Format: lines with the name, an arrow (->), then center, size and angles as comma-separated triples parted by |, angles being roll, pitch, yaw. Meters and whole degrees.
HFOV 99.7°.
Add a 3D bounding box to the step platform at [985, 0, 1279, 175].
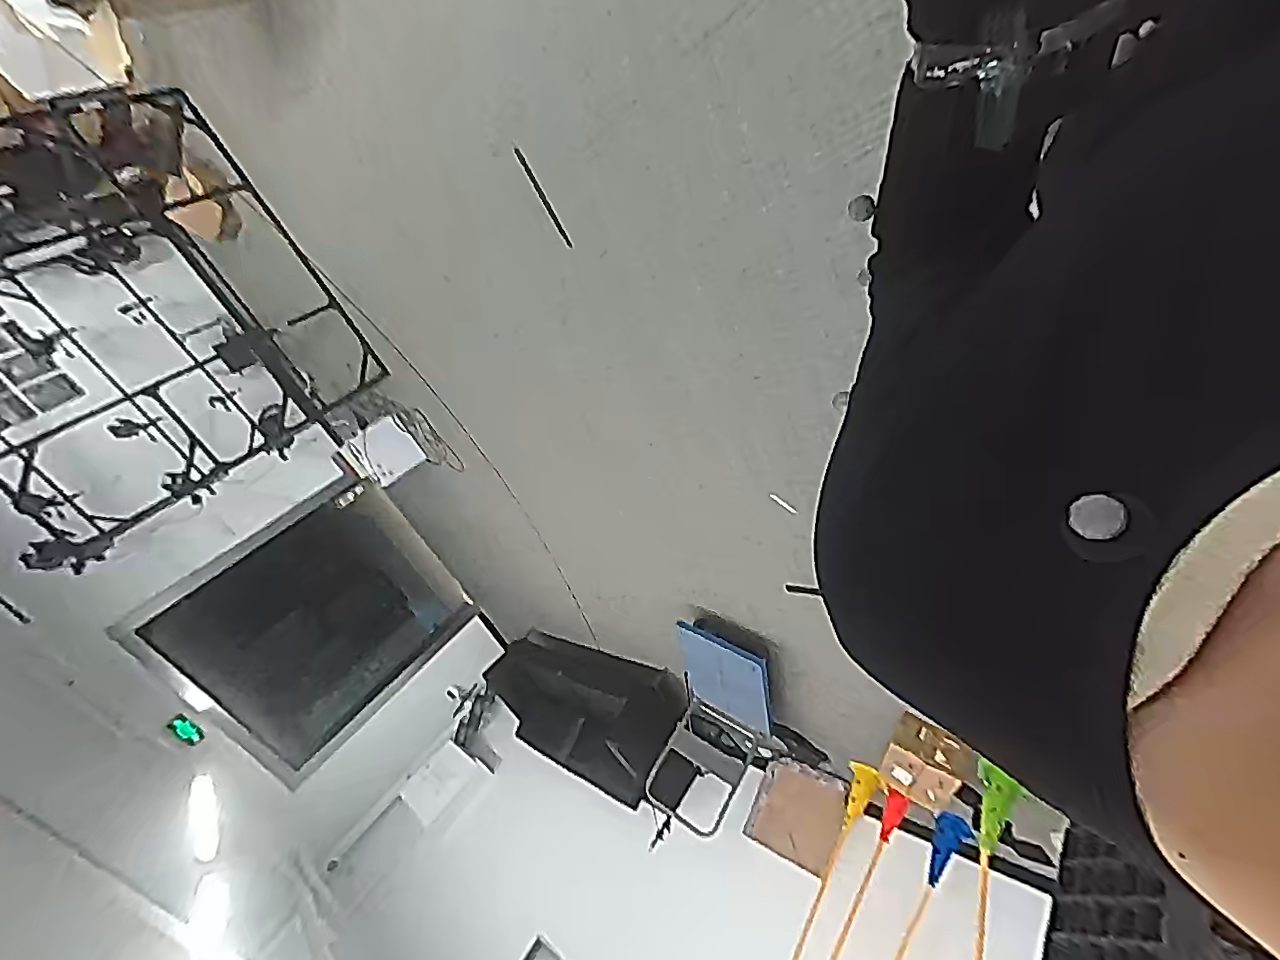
step platform -> 0.924, -0.725, 0.811 | 0.684, 0.204, 0.286 | 5, 130, 47
